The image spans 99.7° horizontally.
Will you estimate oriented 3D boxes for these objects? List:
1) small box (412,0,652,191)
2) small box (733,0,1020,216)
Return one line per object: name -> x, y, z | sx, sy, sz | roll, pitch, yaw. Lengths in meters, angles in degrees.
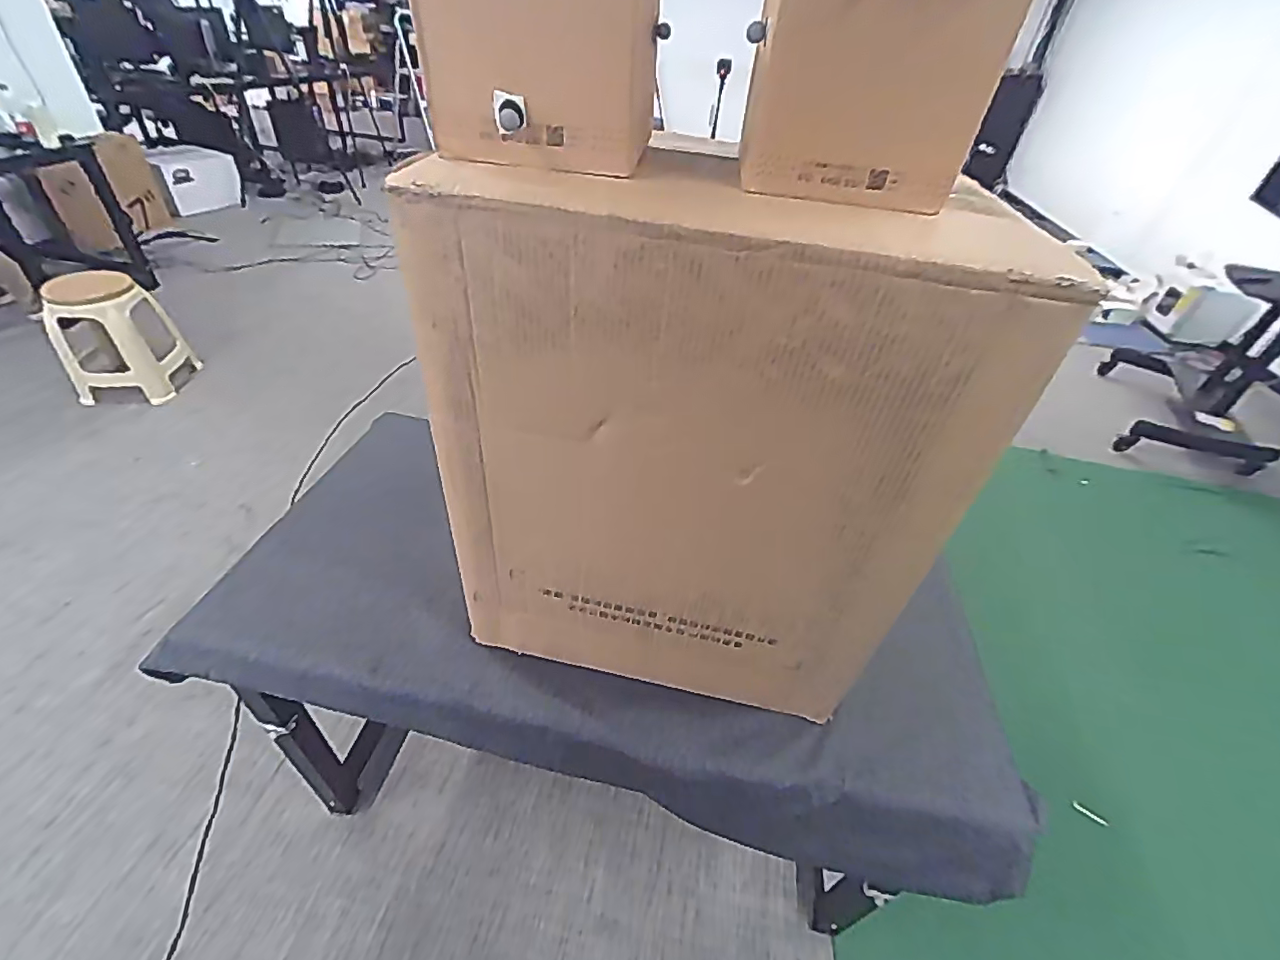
small box -> -0.080, -0.365, 0.460 | 0.168, 0.176, 0.179 | 5, 43, 4
small box -> 0.173, -0.340, 0.452 | 0.168, 0.176, 0.179 | 7, 42, 2
